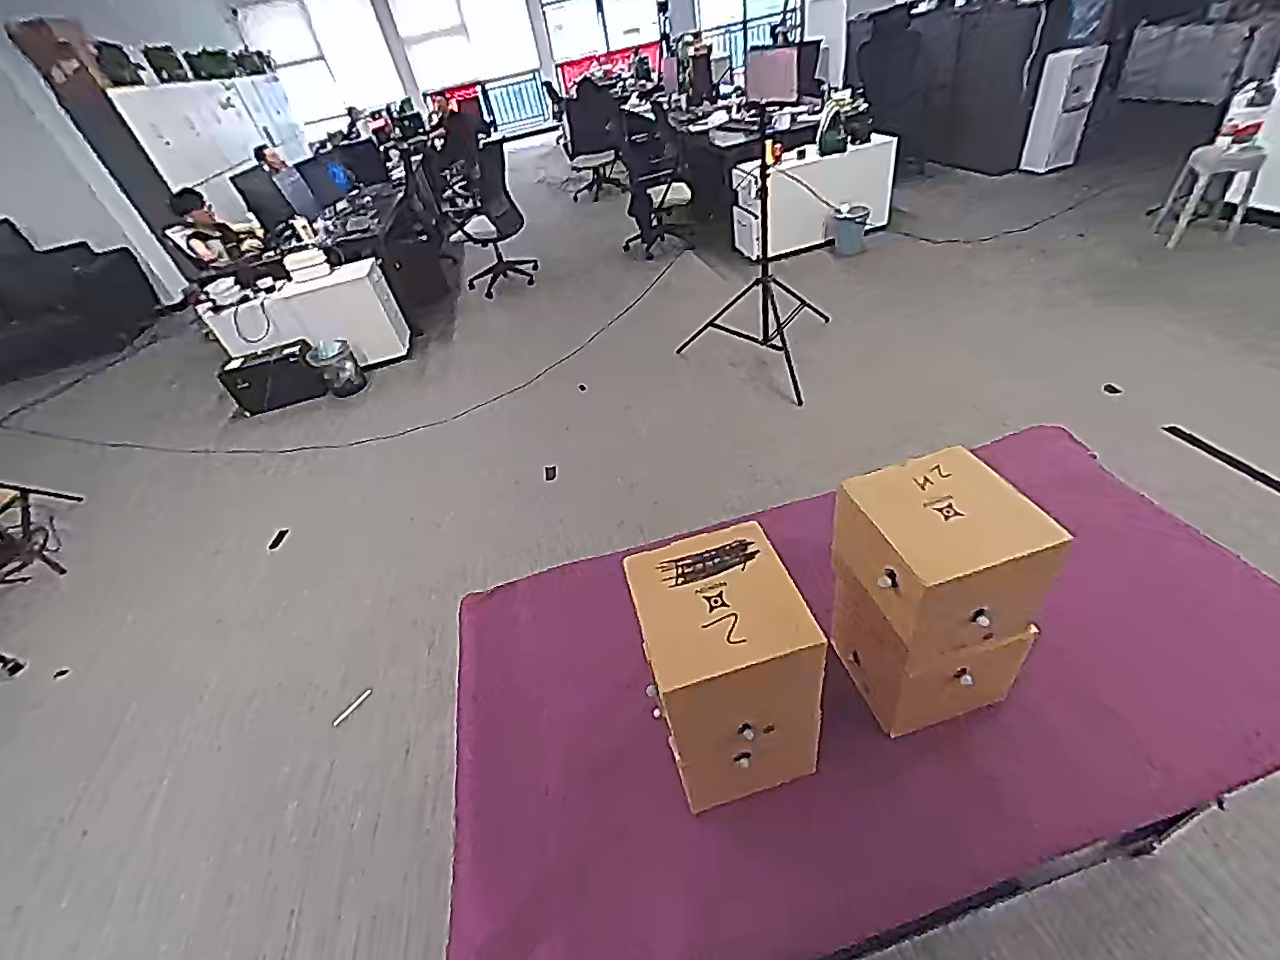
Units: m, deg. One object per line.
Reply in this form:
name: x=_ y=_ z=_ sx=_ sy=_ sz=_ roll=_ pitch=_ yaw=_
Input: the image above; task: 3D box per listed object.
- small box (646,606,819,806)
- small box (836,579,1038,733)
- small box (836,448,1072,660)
small box: x=0.122 y=0.305 z=0.727 sx=0.179 sy=0.176 sz=0.168 roll=-16 pitch=40 yaw=-5
small box: x=0.393 y=0.220 z=0.755 sx=0.179 sy=0.176 sz=0.168 roll=-16 pitch=40 yaw=-3
small box: x=0.357 y=0.094 z=0.656 sx=0.168 sy=0.176 sz=0.179 roll=-16 pitch=40 yaw=-4
